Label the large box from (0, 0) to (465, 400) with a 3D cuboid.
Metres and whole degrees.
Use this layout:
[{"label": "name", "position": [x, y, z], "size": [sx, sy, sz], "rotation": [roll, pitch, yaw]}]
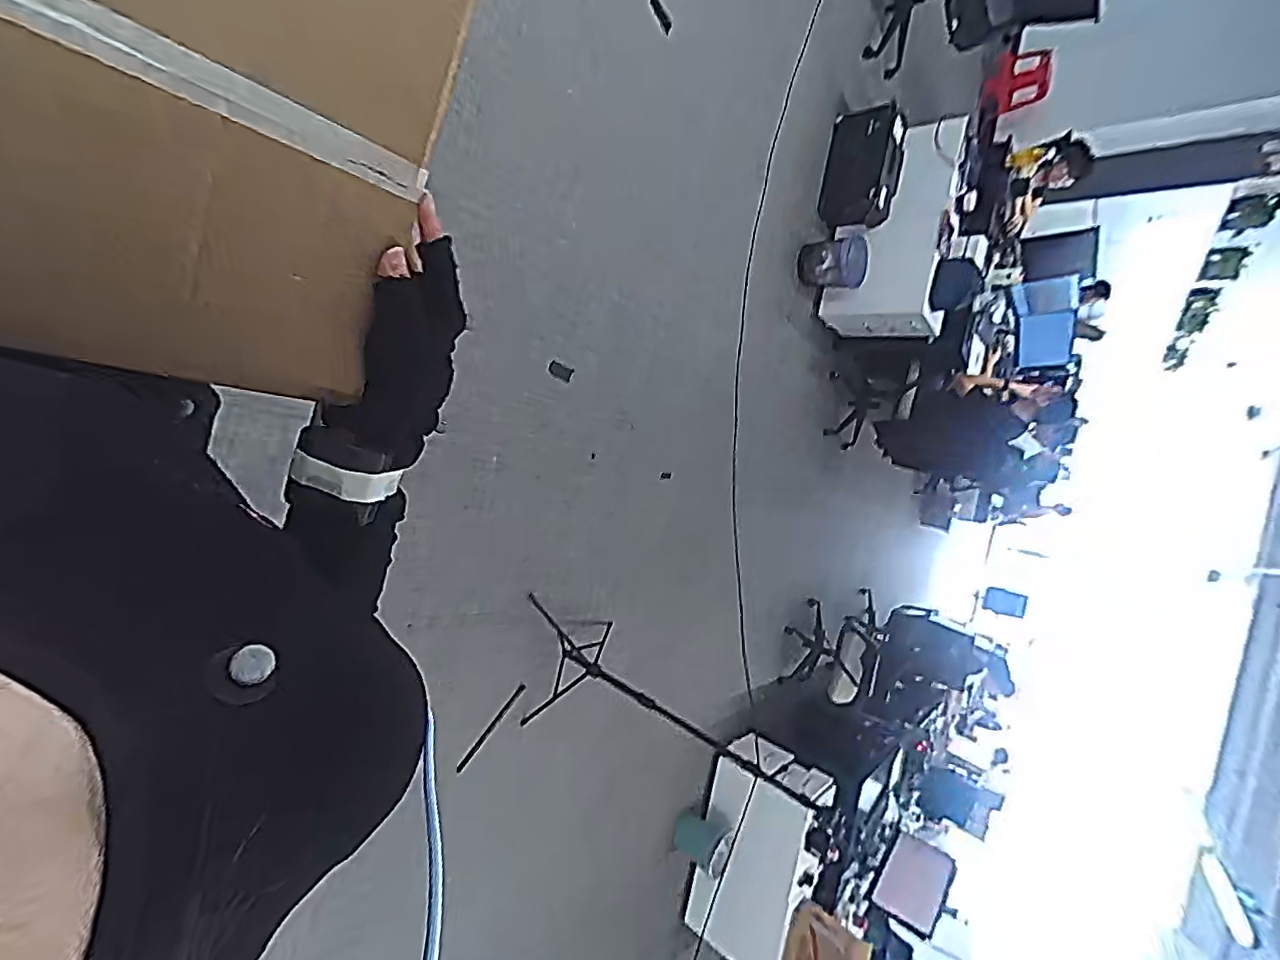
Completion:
[{"label": "large box", "position": [-0.374, -0.276, 0.302], "size": [0.408, 0.320, 0.320], "rotation": [6, 118, -45]}]
